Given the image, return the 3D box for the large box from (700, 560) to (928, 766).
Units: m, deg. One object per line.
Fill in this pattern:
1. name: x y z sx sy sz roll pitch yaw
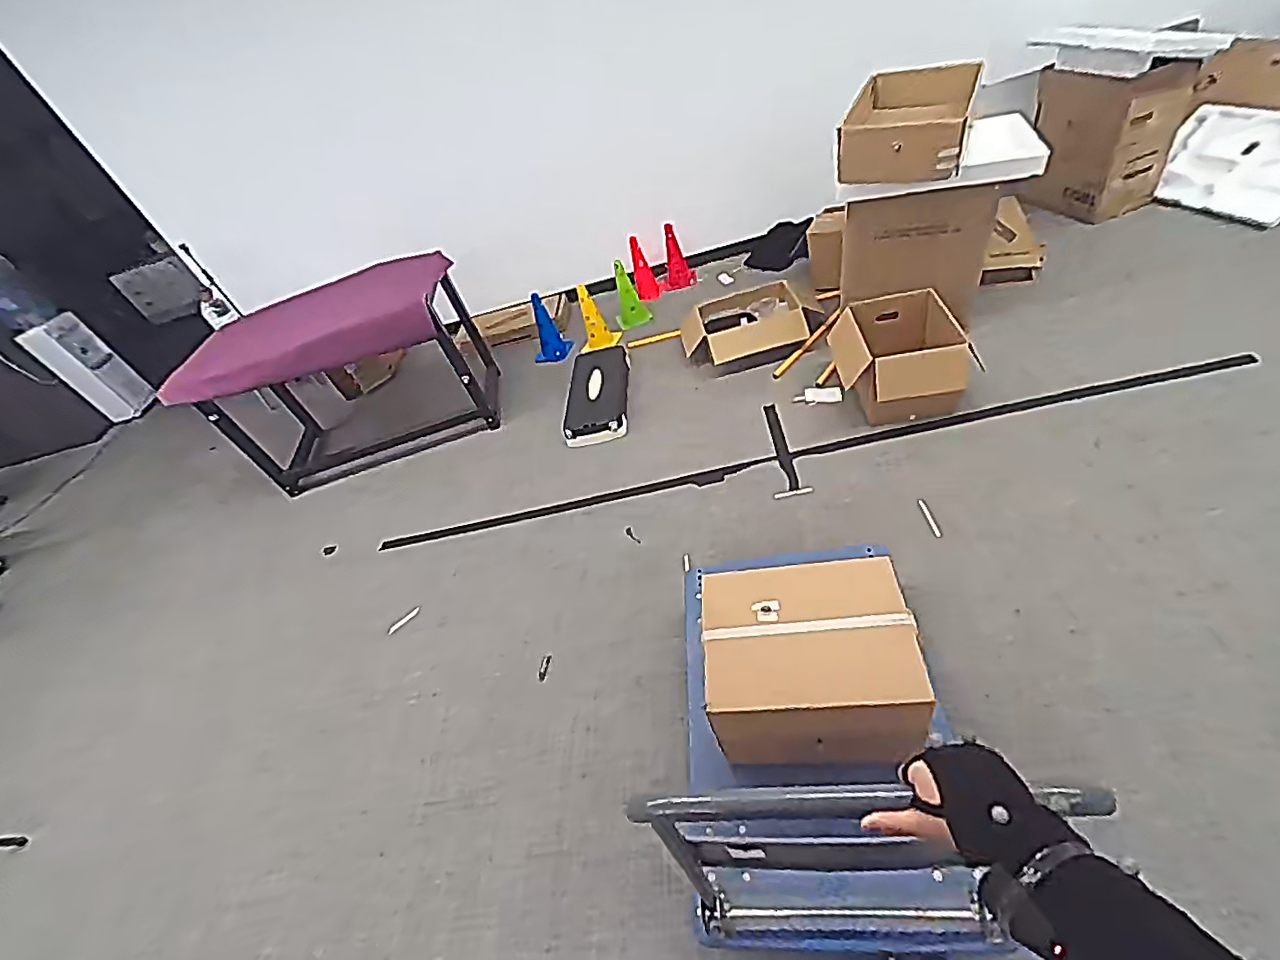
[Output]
1. large box: 0.367 0.416 1.201 0.408 0.320 0.320 -10 43 13
